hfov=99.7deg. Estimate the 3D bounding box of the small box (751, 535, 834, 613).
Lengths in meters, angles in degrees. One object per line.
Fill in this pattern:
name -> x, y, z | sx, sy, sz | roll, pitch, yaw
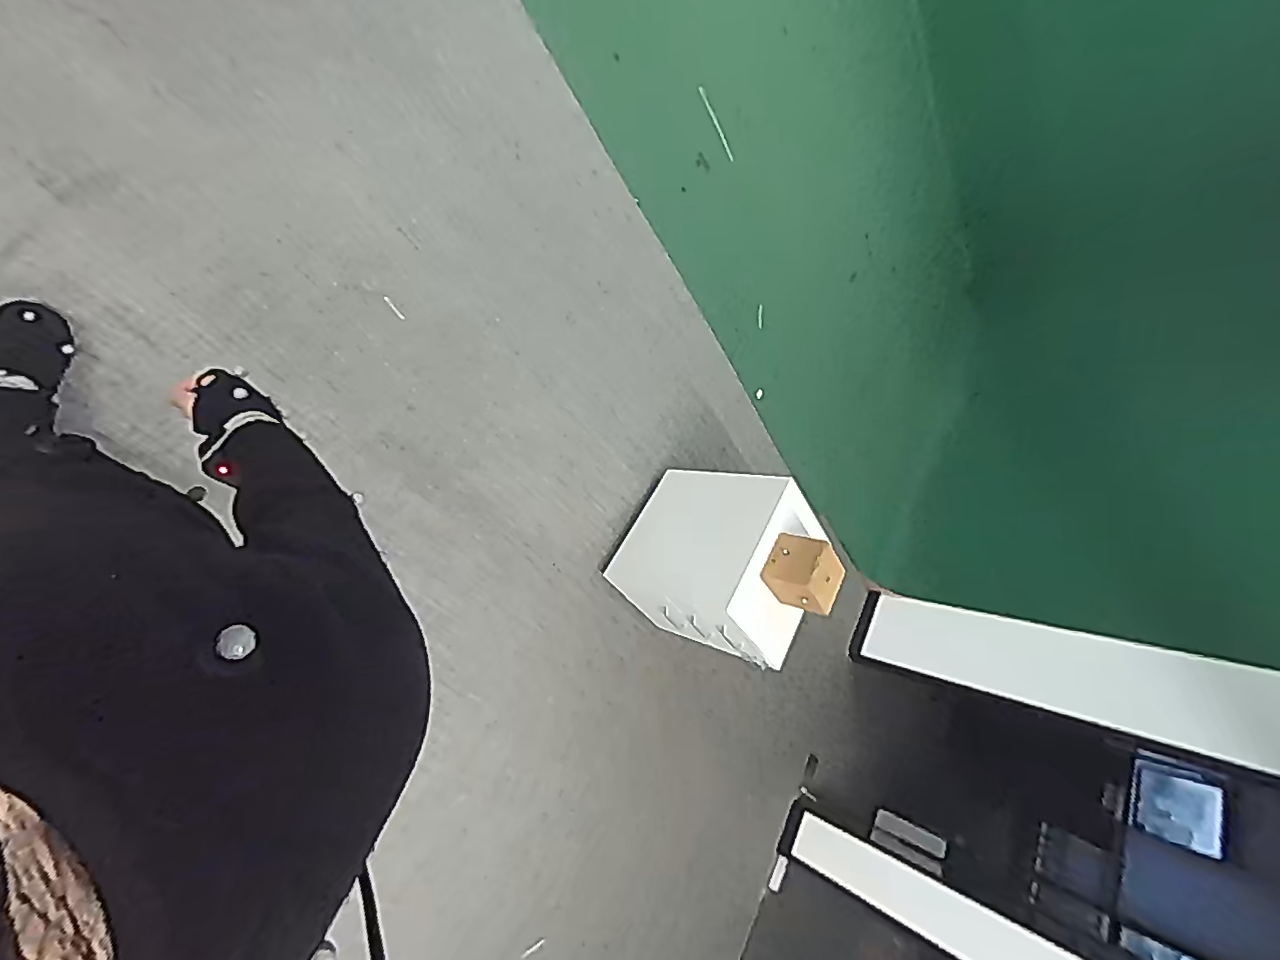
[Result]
small box -> 0.477, 0.287, 1.692 | 0.179, 0.176, 0.168 | 51, 59, -36
